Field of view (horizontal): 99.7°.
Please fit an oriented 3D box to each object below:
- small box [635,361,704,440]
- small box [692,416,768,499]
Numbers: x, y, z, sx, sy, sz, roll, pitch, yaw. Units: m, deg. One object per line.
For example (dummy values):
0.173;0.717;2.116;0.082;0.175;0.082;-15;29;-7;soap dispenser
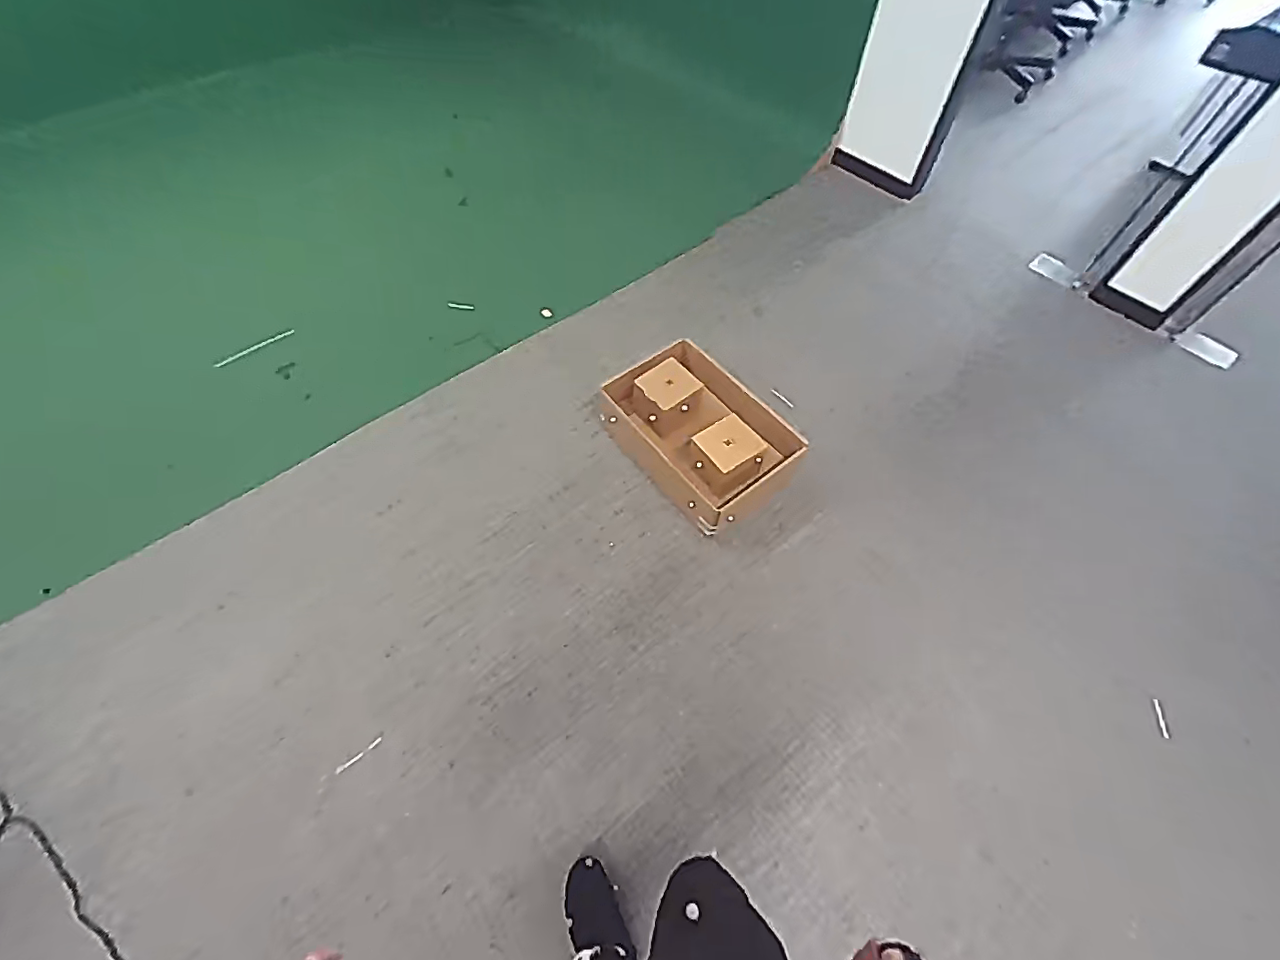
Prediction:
0.101;-0.271;1.868;0.179;0.176;0.168;-35;65;-19;small box
0.283;-0.067;1.742;0.179;0.176;0.168;-31;63;-17;small box
